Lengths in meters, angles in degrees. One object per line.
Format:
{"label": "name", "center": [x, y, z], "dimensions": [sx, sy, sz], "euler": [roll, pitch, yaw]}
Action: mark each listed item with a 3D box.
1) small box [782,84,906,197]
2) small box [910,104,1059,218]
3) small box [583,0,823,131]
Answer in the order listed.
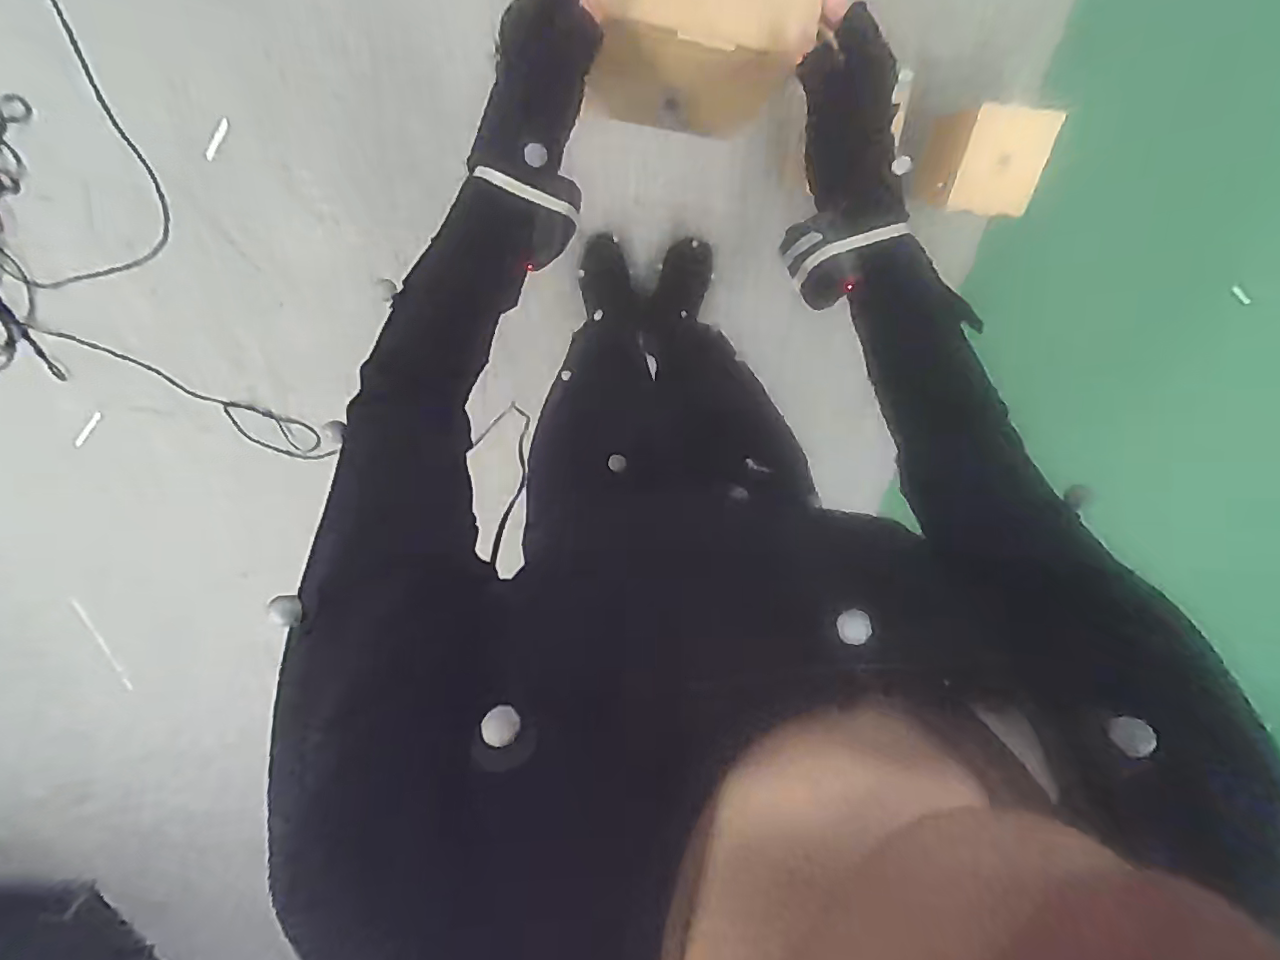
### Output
{"label": "small box", "center": [0.390, -0.666, 1.071], "dimensions": [0.168, 0.176, 0.179], "euler": [0, 120, -3]}
{"label": "small box", "center": [0.681, -0.643, 1.097], "dimensions": [0.168, 0.176, 0.179], "euler": [4, 121, -3]}
{"label": "small box", "center": [0.045, -0.425, 0.439], "dimensions": [0.168, 0.176, 0.179], "euler": [4, 102, -10]}
